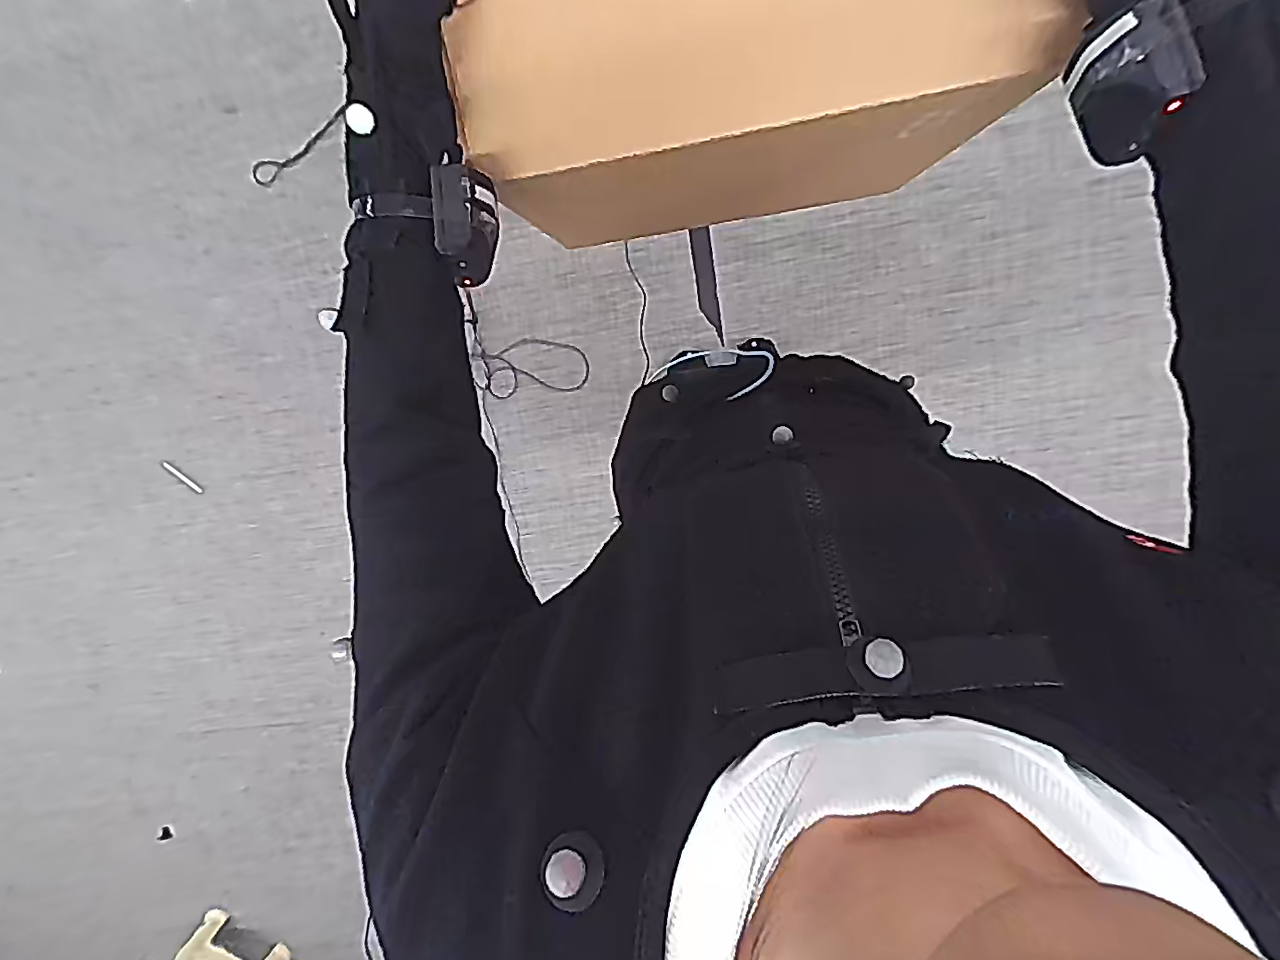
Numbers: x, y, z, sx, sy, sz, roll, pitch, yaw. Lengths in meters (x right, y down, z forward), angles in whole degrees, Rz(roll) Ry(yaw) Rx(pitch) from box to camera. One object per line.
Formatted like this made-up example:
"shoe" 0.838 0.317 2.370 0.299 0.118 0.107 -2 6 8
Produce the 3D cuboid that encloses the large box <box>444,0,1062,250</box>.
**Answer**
"large box" 0.063 -0.427 0.483 0.408 0.320 0.320 -8 104 6
